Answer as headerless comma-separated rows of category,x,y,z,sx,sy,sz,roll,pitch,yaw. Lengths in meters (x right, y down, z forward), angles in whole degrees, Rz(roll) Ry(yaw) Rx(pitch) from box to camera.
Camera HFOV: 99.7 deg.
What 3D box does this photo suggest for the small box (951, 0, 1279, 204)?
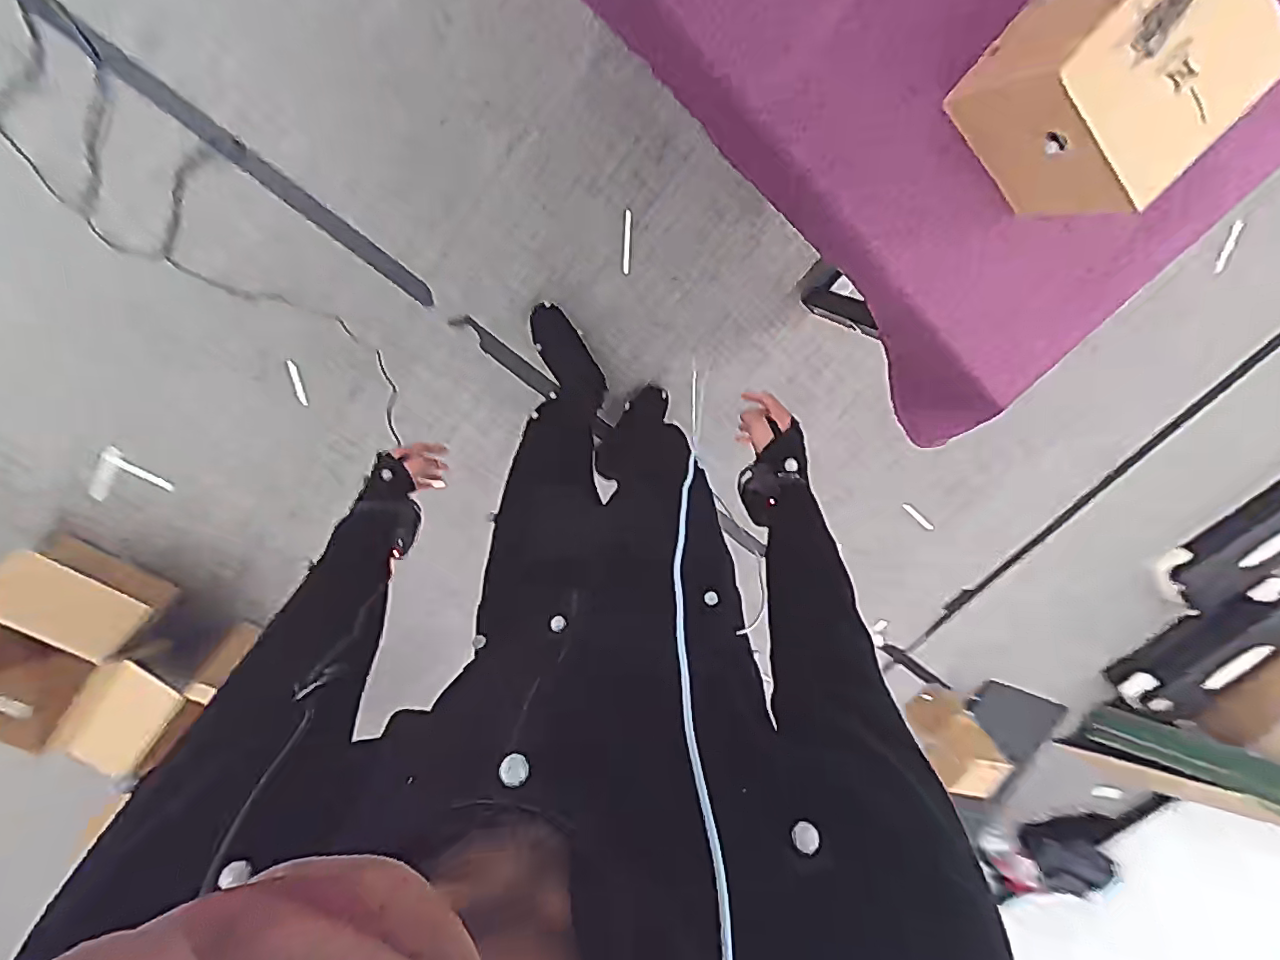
small box,0.468,-0.406,0.552,0.179,0.176,0.168,35,107,-22
